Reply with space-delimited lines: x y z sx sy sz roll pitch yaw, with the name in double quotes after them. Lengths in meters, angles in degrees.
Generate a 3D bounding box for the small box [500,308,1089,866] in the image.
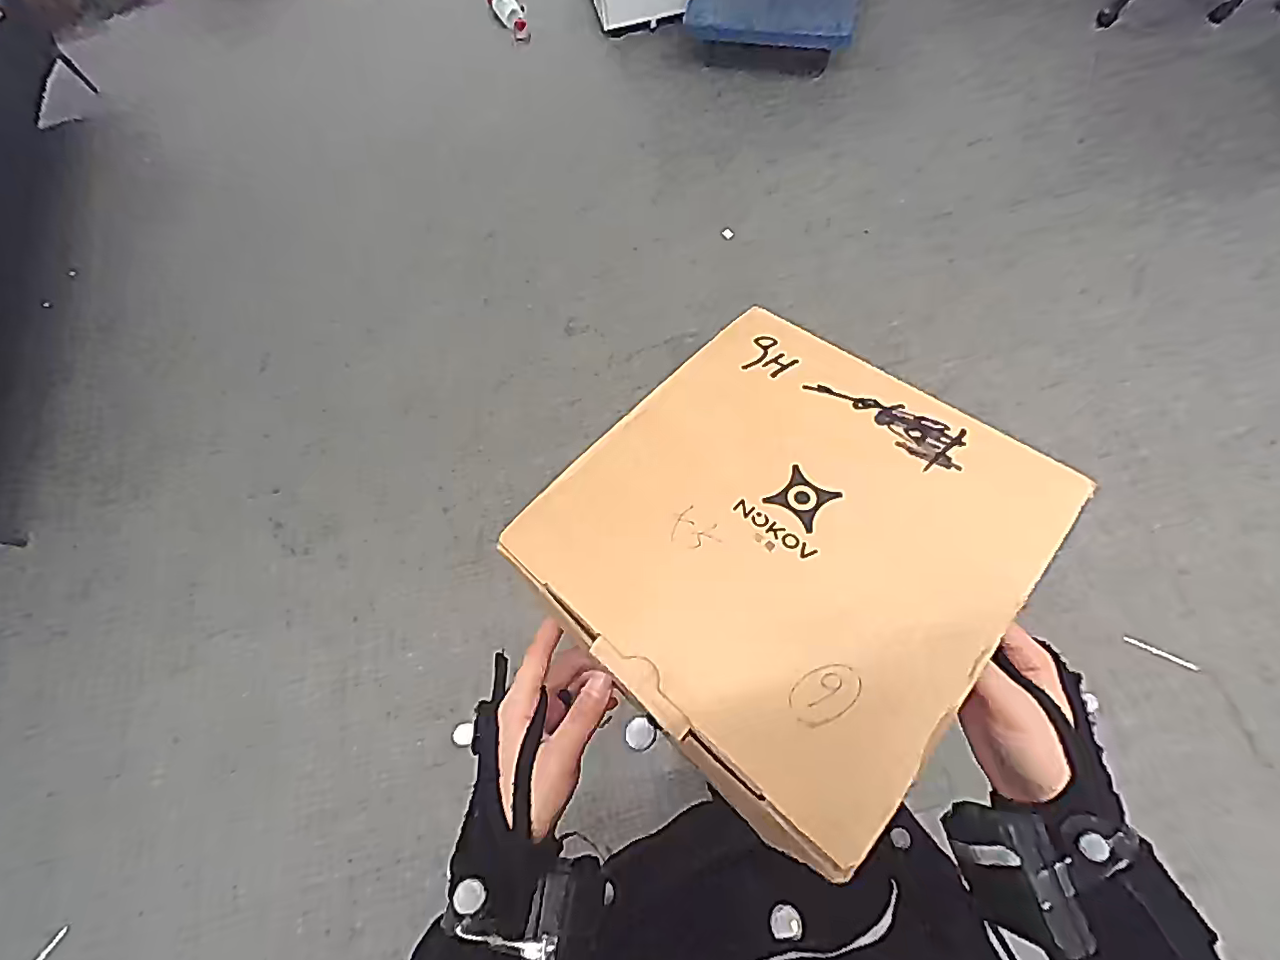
0.066 0.054 0.283 0.168 0.176 0.179 38 70 25 "small box"
